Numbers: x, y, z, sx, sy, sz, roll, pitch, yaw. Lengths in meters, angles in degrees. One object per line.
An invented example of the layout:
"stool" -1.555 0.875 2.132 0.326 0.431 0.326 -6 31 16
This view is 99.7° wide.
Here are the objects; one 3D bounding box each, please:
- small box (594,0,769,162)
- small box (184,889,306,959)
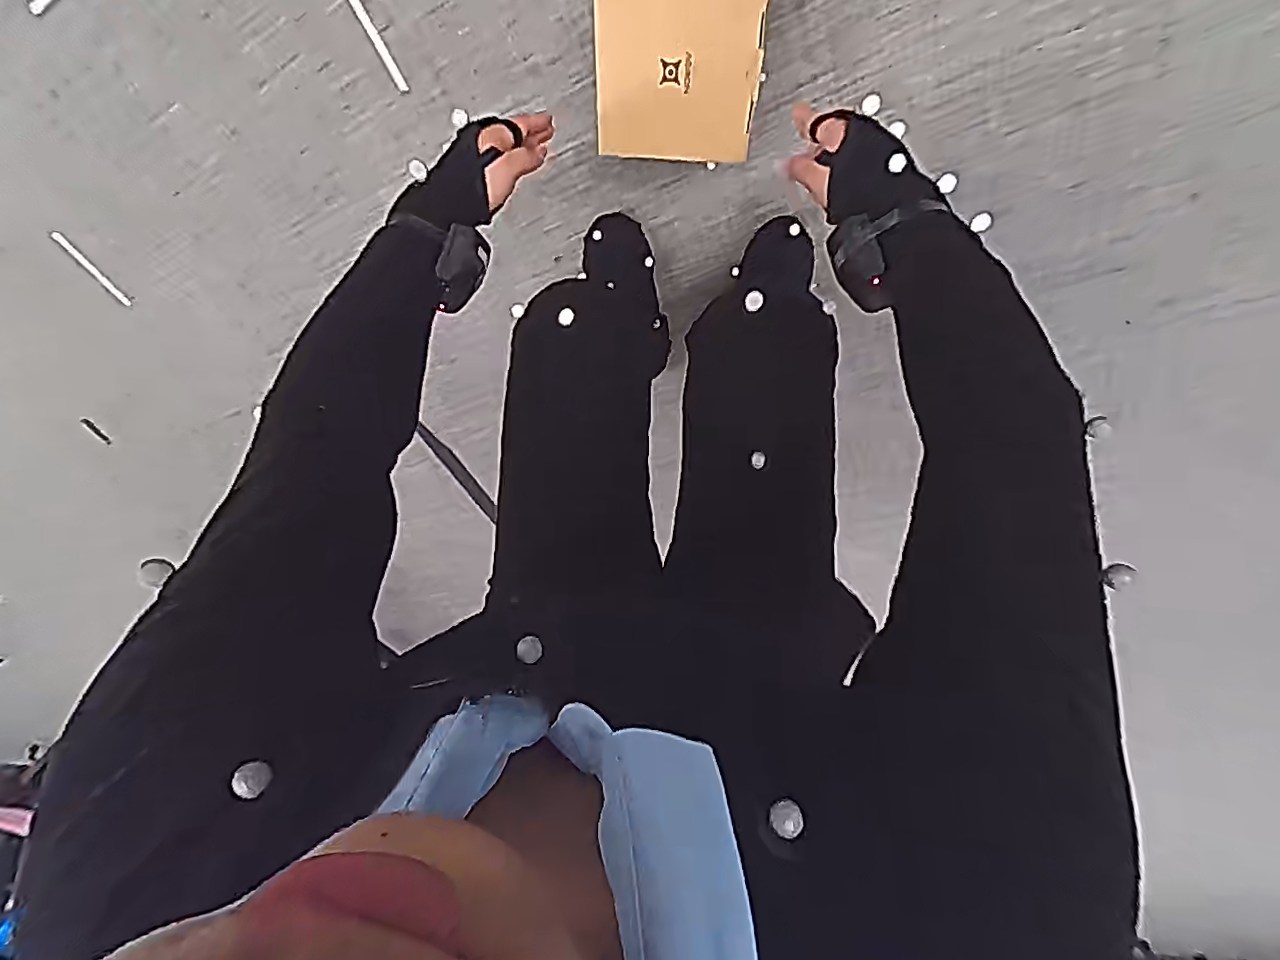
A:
"small box" 0.051 -0.488 0.631 0.179 0.176 0.168 7 133 5
"small box" -1.049 1.226 1.447 0.168 0.176 0.179 -7 130 17
